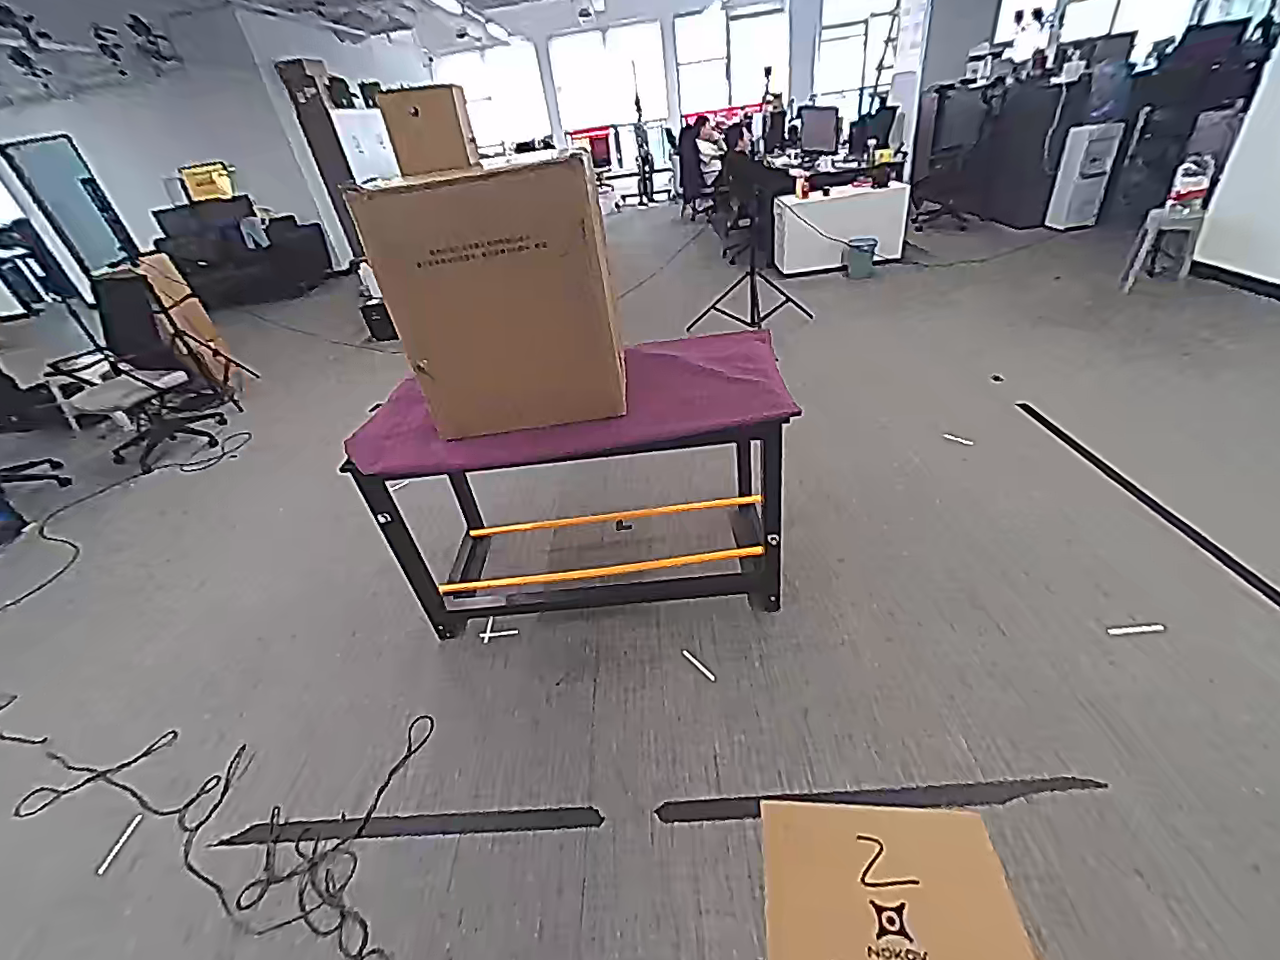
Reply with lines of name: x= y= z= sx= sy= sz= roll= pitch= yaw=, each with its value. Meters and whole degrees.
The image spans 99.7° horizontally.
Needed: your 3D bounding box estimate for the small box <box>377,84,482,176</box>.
small box: x=-0.509 y=-0.860 z=1.335 sx=0.179 sy=0.176 sz=0.168 roll=-8 pitch=35 yaw=0
